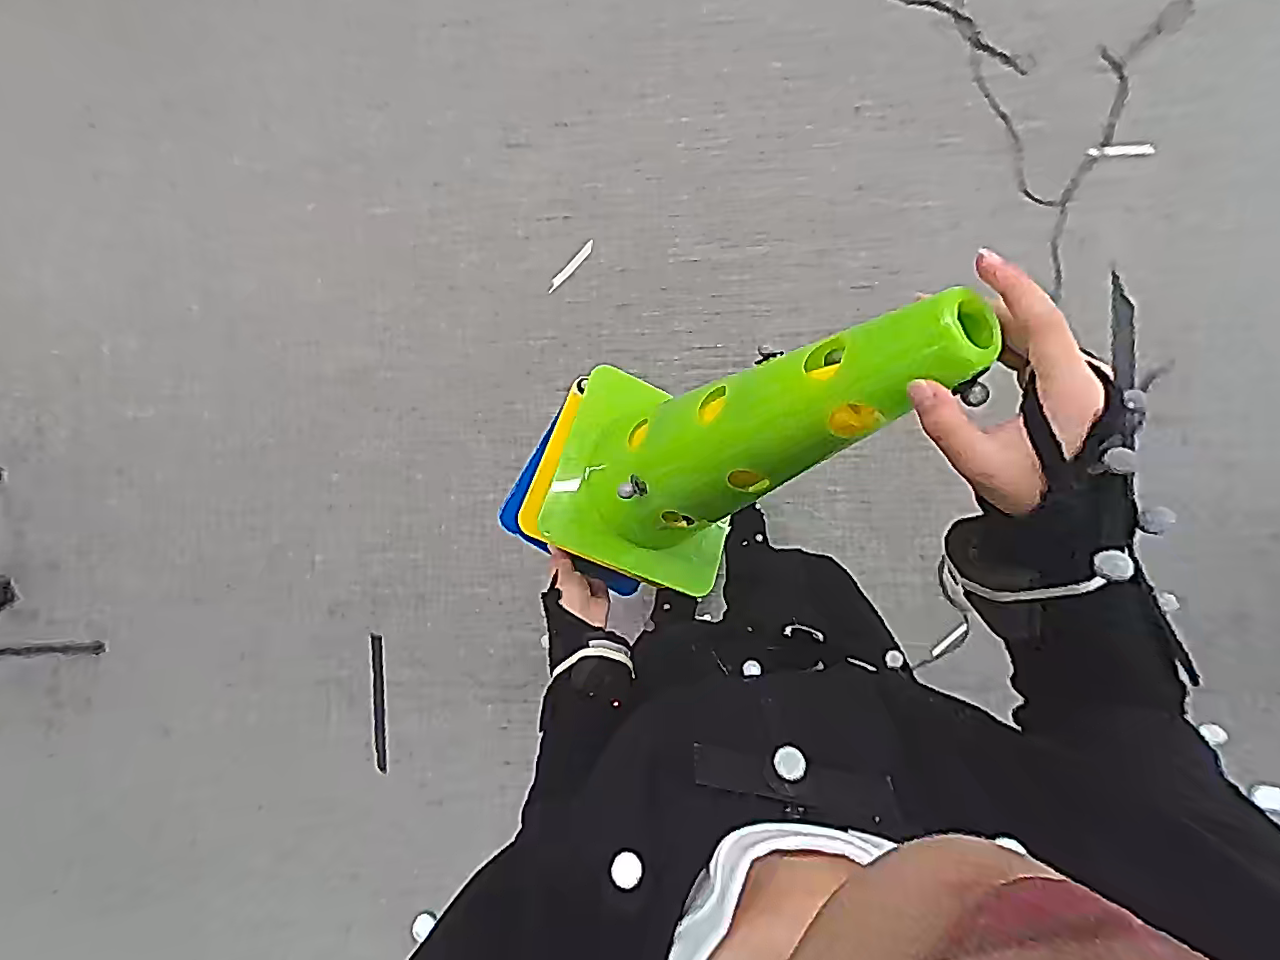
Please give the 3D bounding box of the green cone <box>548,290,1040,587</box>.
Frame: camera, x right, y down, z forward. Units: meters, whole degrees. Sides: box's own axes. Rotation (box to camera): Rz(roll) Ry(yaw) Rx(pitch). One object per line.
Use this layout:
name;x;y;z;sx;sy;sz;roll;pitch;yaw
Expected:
green cone;0.091;-0.041;0.400;0.200;0.368;0.202;23;71;-18
